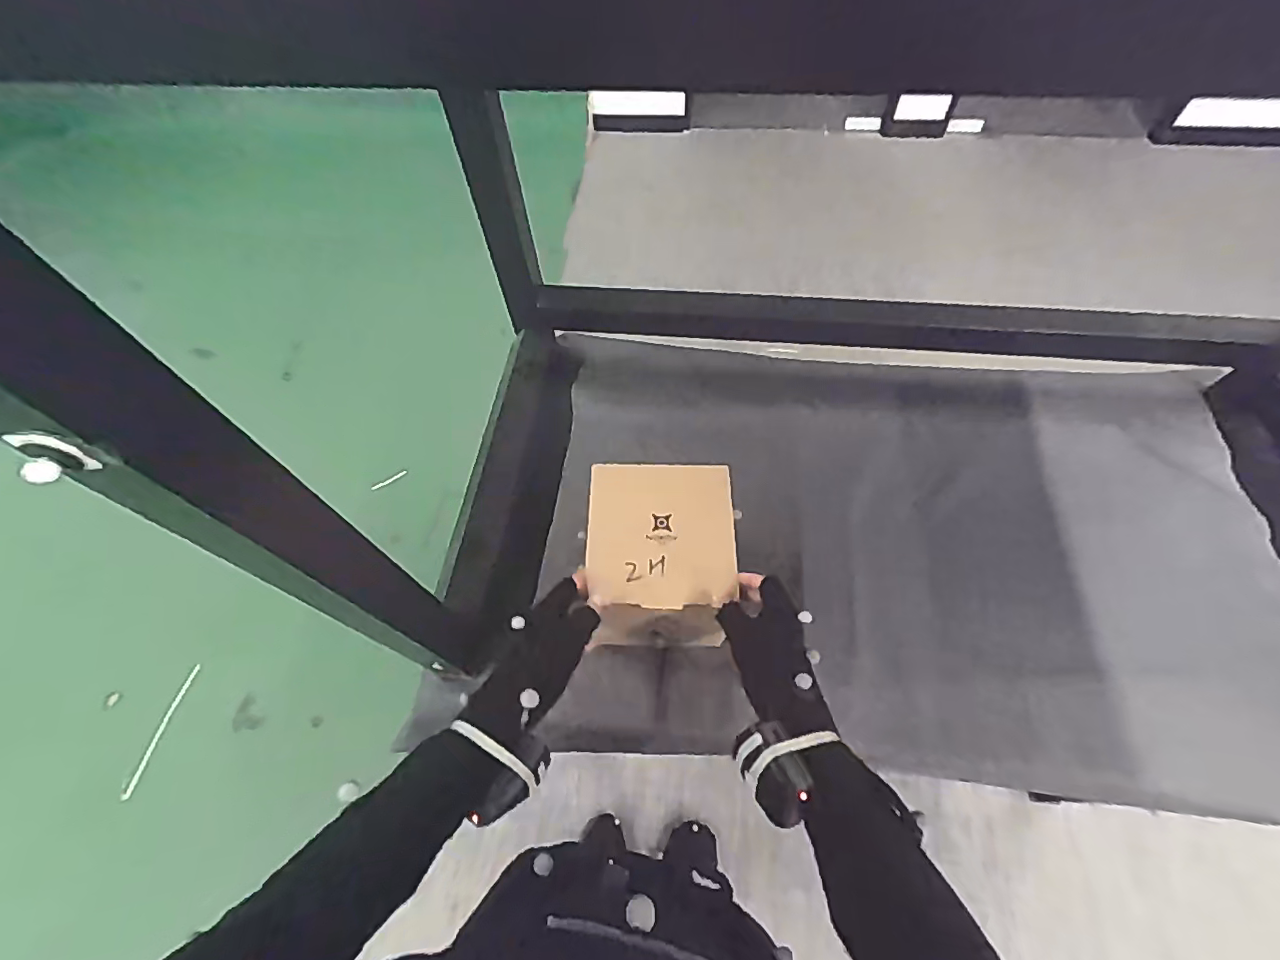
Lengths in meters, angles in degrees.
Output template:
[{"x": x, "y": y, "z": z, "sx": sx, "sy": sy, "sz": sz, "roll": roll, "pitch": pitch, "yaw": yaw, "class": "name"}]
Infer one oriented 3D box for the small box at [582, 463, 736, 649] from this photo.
[{"x": 0.024, "y": 0.098, "z": 0.677, "sx": 0.168, "sy": 0.176, "sz": 0.179, "roll": 2, "pitch": 59, "yaw": 2, "class": "small box"}]
